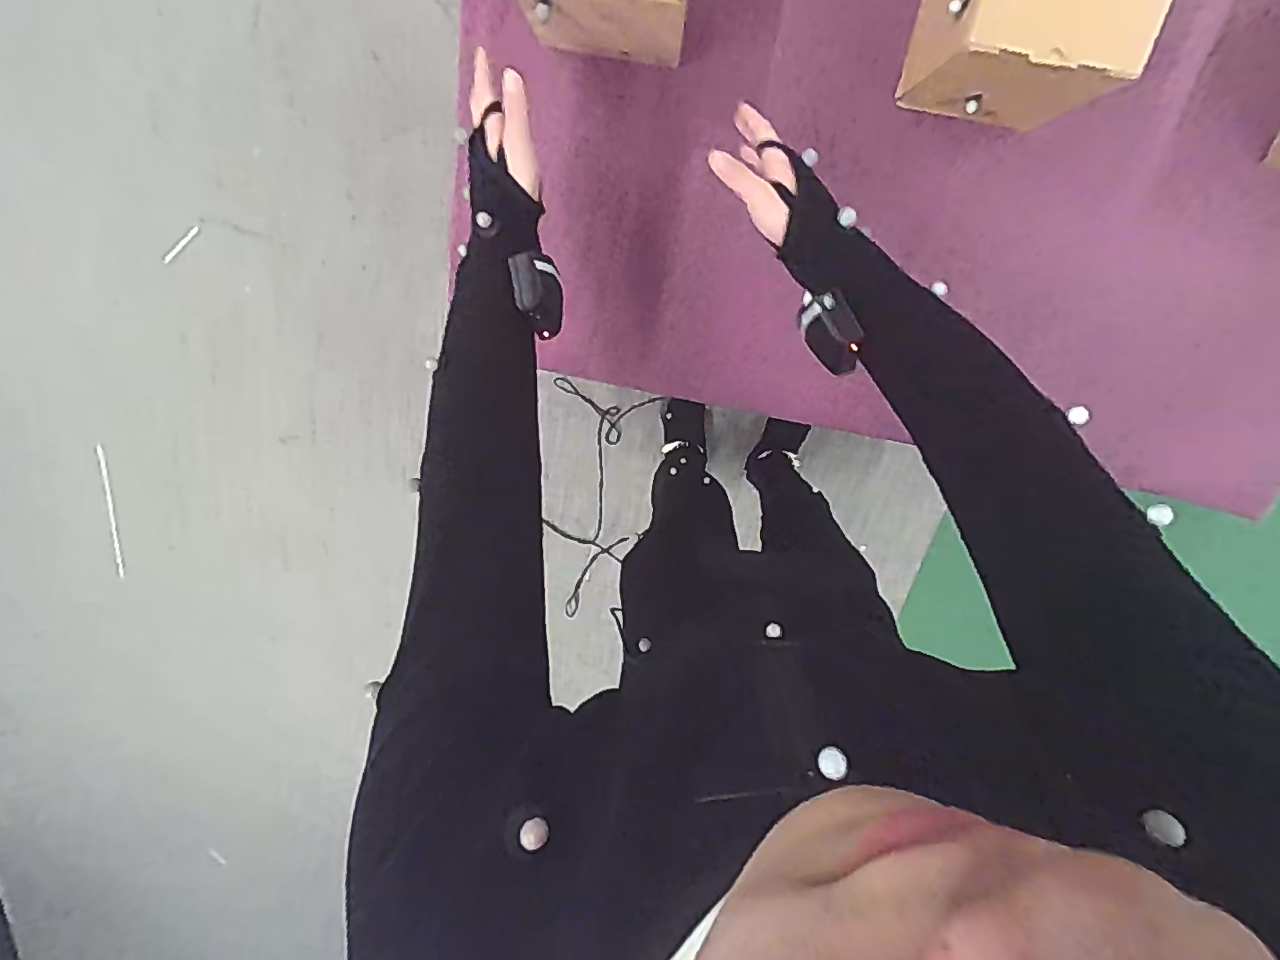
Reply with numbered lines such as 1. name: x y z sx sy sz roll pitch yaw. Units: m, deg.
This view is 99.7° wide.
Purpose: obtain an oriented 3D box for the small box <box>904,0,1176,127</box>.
1. small box: 0.393 -0.483 0.536 0.168 0.176 0.179 9 111 -1
